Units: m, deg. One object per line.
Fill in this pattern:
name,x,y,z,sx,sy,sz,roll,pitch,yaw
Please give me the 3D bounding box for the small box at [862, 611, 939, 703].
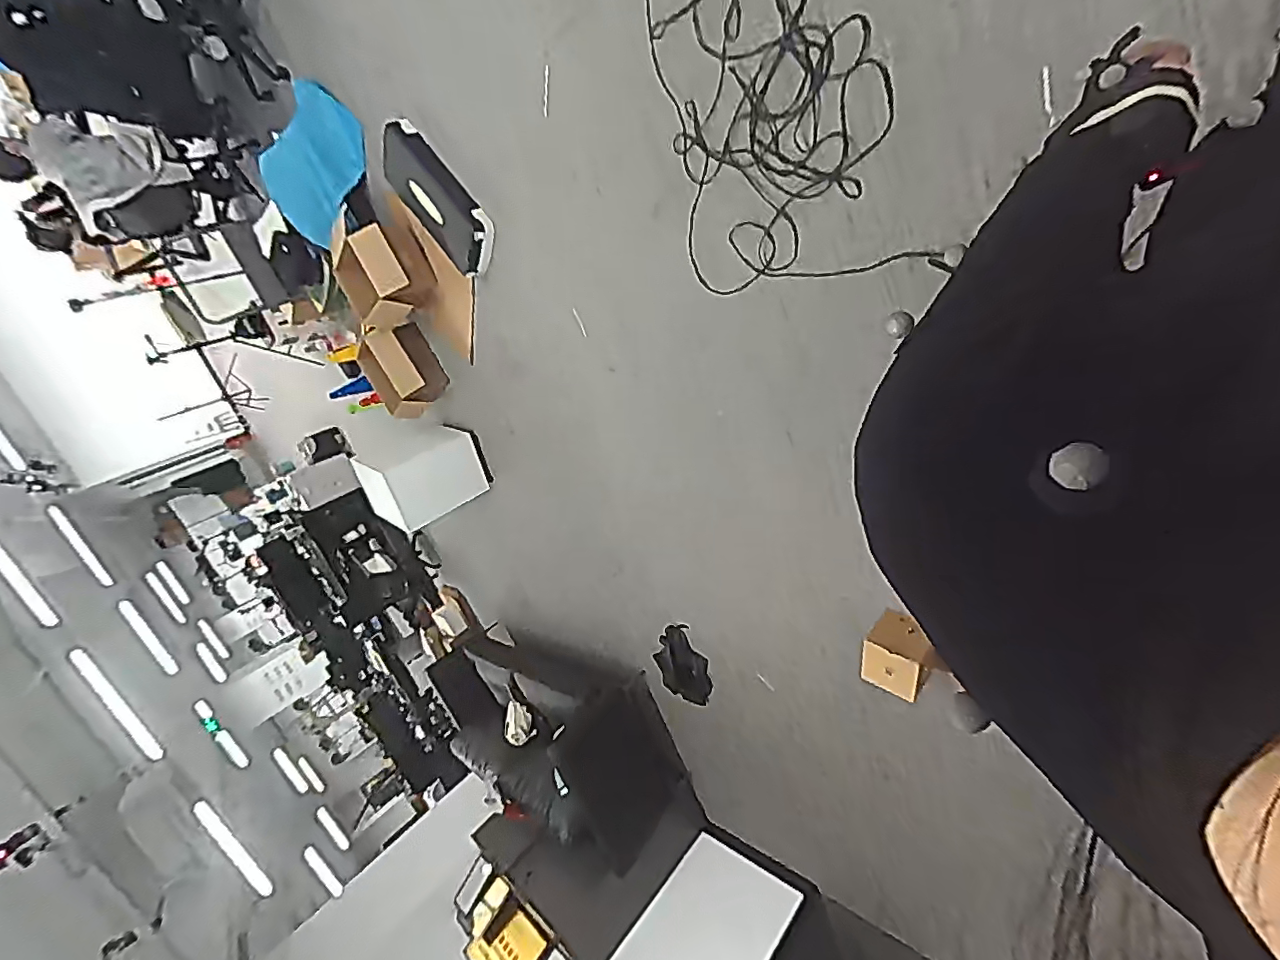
small box,0.813,0.546,1.688,0.168,0.176,0.179,19,130,41
